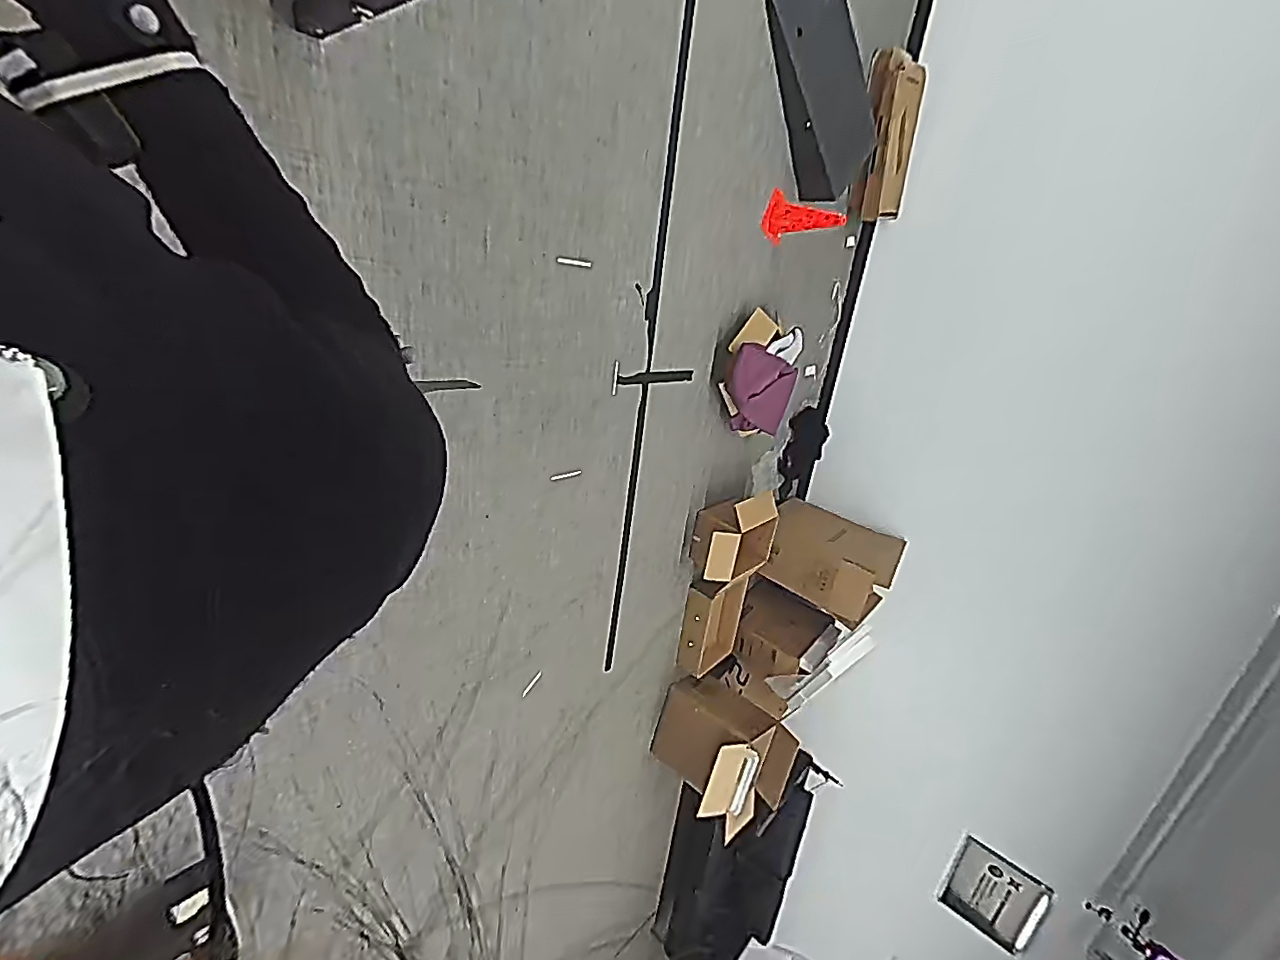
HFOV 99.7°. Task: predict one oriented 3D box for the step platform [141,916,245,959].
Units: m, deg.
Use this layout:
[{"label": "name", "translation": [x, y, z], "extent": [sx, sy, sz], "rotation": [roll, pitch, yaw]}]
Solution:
[{"label": "step platform", "translation": [-1.299, 1.375, 1.222], "extent": [0.684, 0.204, 0.286], "rotation": [-18, 123, -45]}]
